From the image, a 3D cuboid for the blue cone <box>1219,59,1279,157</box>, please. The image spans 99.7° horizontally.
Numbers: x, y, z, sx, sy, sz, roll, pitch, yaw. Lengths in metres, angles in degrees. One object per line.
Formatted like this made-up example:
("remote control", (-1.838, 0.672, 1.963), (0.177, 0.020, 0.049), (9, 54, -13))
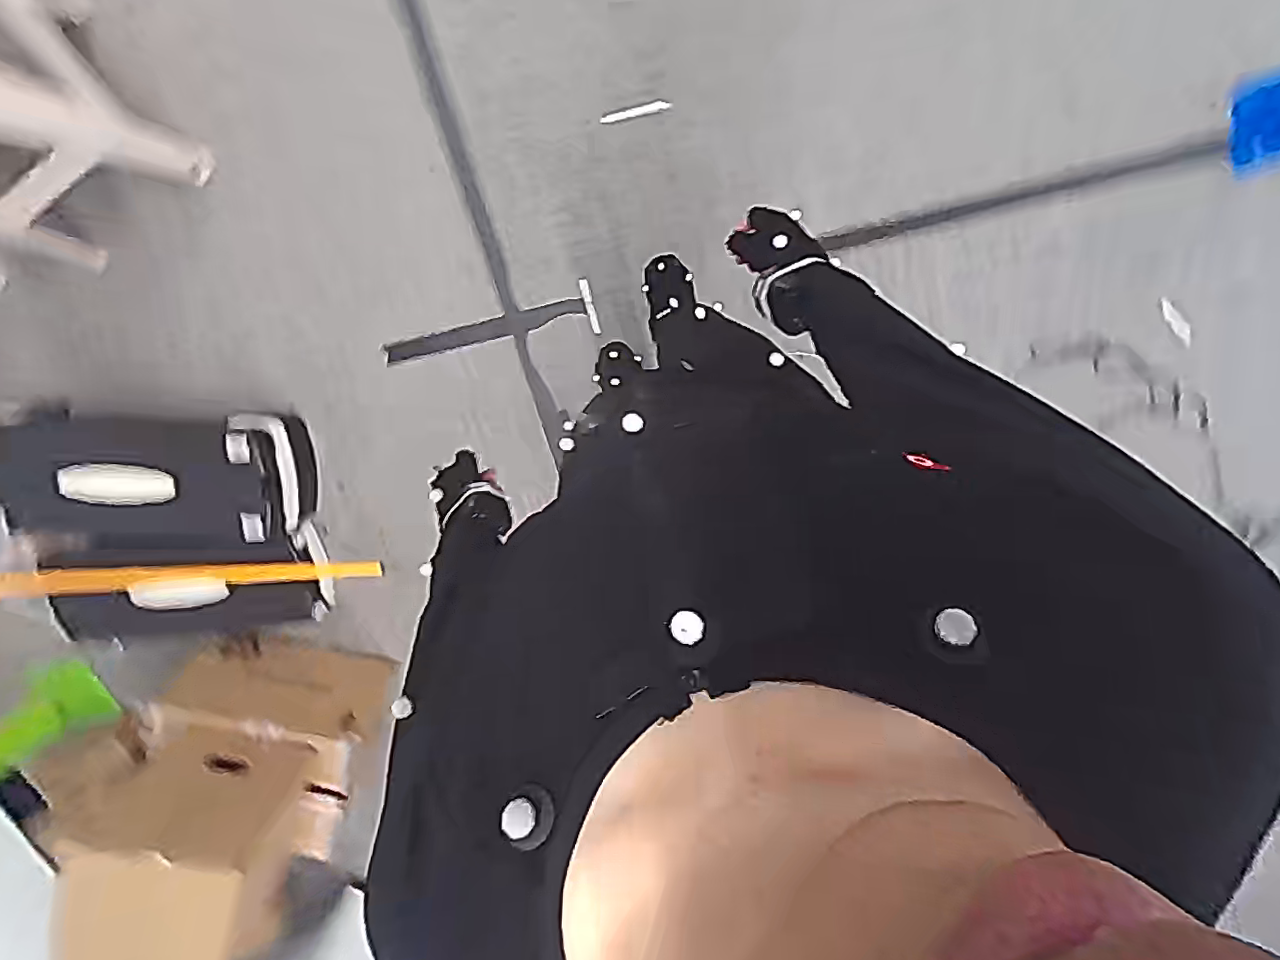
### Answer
("blue cone", (1.534, -0.870, 1.175), (0.193, 0.380, 0.192), (-19, 107, 1))
